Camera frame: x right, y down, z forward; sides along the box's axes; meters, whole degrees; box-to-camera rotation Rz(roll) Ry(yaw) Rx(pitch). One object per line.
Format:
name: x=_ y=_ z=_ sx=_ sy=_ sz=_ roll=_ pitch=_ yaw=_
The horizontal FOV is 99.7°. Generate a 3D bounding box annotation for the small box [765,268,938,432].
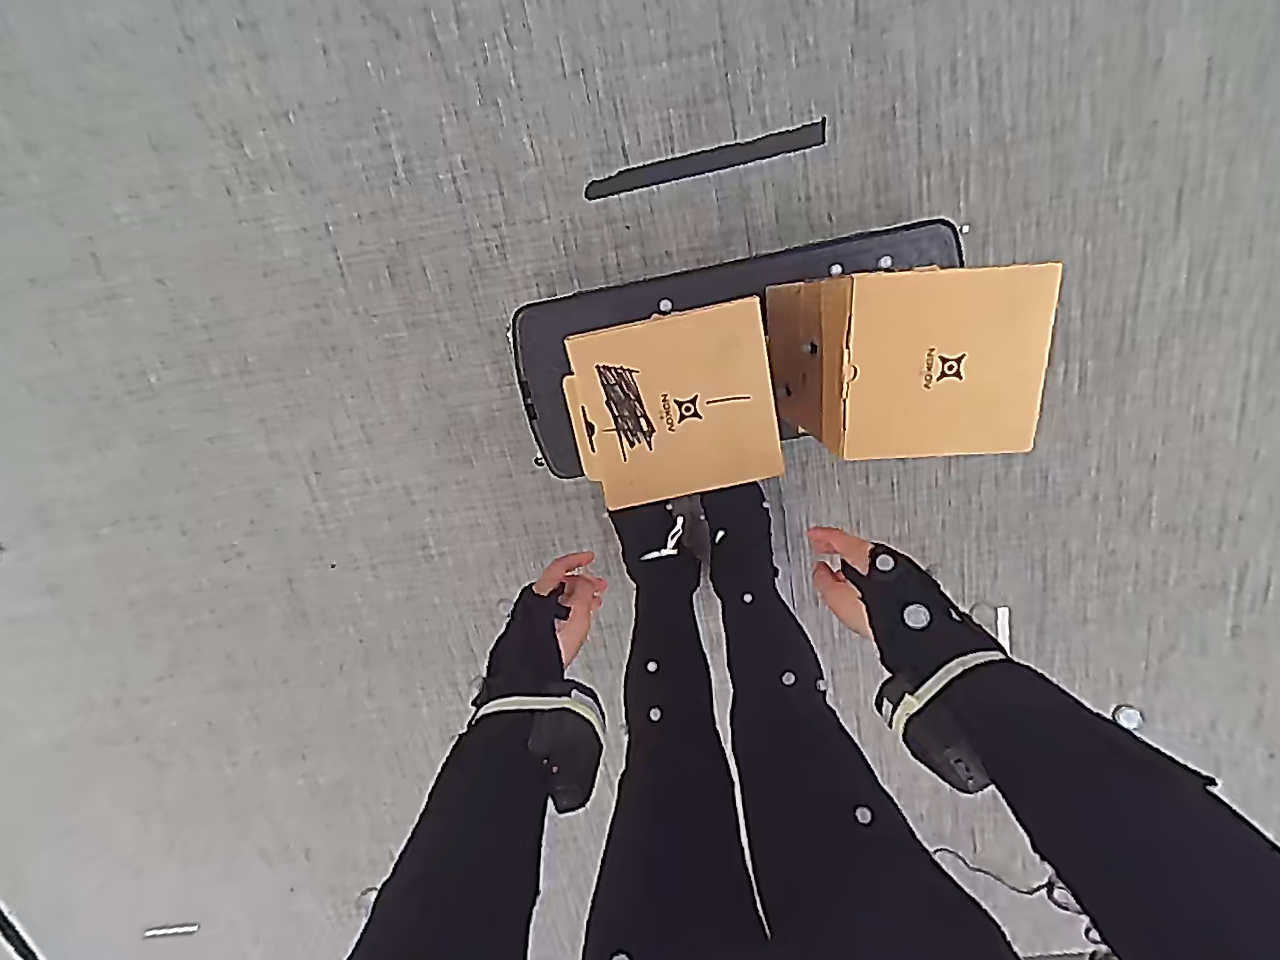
small box: x=0.263 y=-0.173 z=0.708 sx=0.168 sy=0.176 sz=0.179 roll=-6 pitch=107 yaw=4
